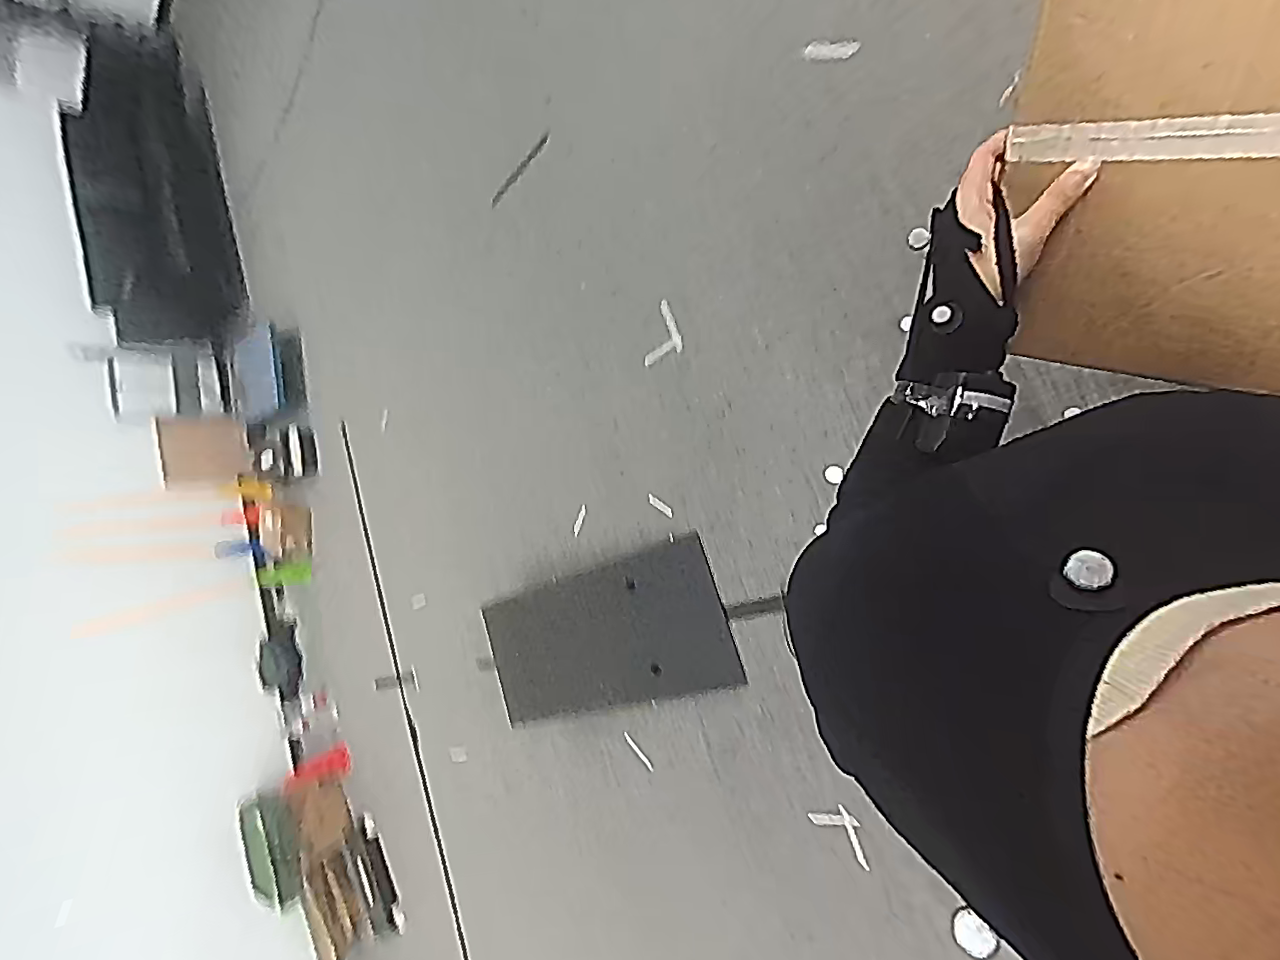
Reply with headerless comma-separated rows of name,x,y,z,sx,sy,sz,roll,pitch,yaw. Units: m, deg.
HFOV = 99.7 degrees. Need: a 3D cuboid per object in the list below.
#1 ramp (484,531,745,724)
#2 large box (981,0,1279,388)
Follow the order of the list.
ramp,-0.151,0.553,1.918,0.991,0.206,0.509,-27,76,37
large box,0.493,-0.258,0.320,0.408,0.320,0.320,22,145,38
